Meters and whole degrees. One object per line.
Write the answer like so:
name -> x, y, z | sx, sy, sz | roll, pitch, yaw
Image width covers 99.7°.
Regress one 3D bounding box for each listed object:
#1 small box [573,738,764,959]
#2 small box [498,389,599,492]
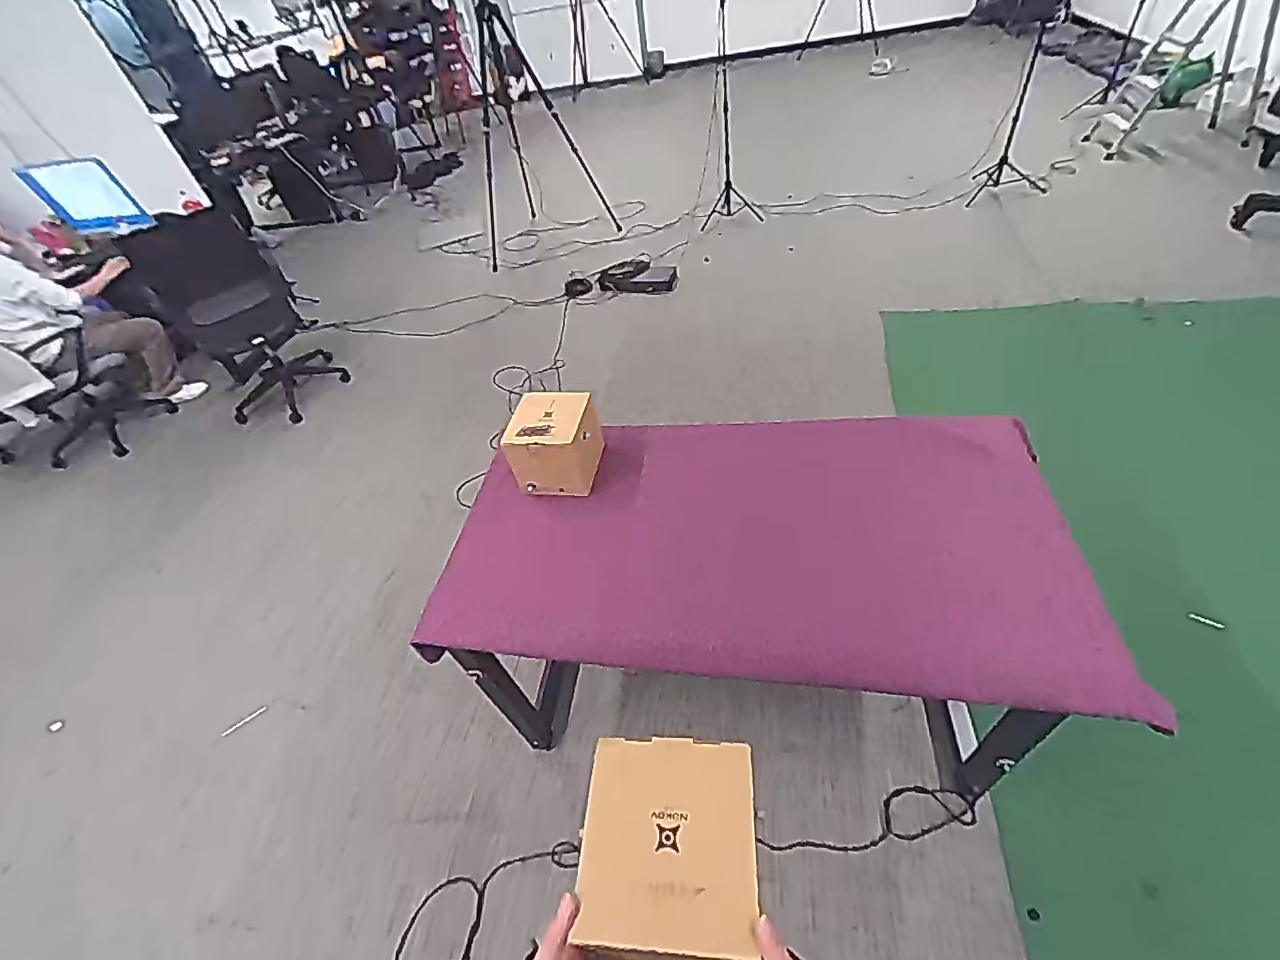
small box -> 0.038, 0.398, 0.567 | 0.168, 0.176, 0.179 | -1, 44, 9
small box -> -0.199, -0.088, 1.239 | 0.168, 0.176, 0.179 | 3, 49, 12
